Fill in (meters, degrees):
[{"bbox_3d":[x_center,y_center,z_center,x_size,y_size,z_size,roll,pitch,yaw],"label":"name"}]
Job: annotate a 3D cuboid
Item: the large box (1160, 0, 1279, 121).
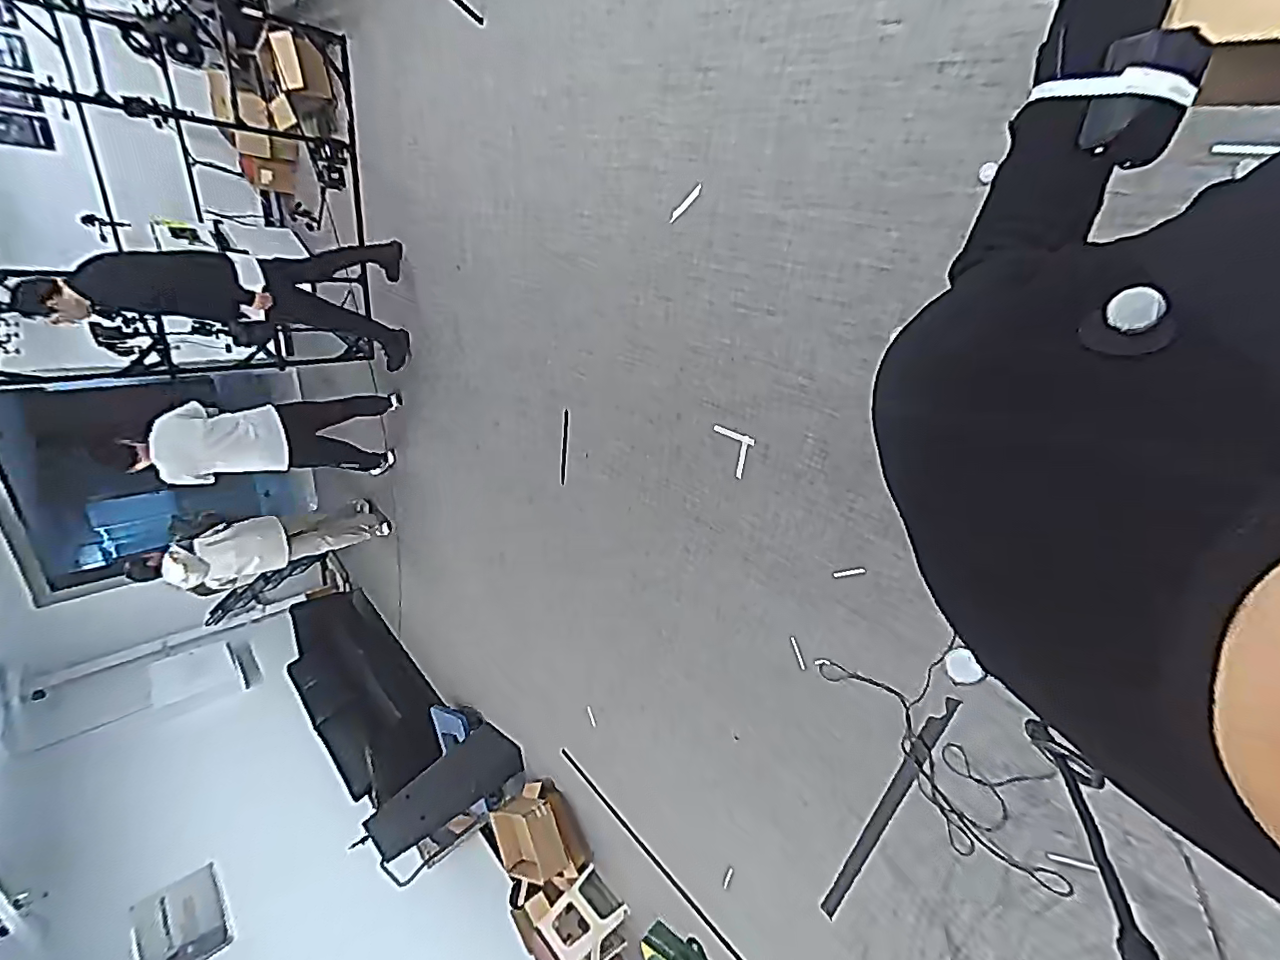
[{"bbox_3d":[0.590,-0.390,0.272,0.408,0.320,0.320,26,126,35],"label":"large box"}]
